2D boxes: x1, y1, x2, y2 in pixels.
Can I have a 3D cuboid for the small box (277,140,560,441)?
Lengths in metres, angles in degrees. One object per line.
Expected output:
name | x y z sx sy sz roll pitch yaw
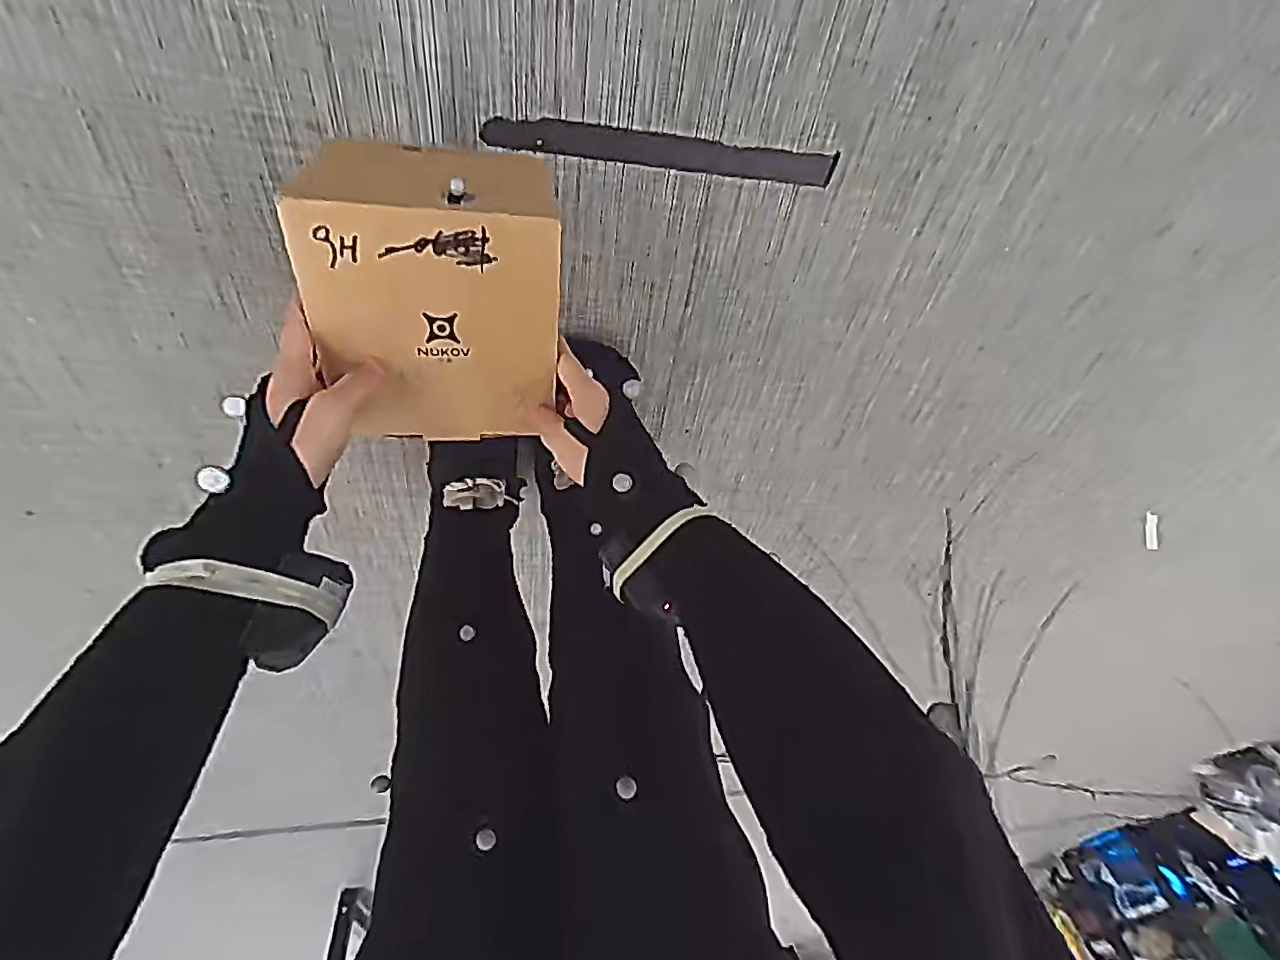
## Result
small box | -0.158 -0.150 0.441 0.168 0.176 0.179 -3 133 -15
